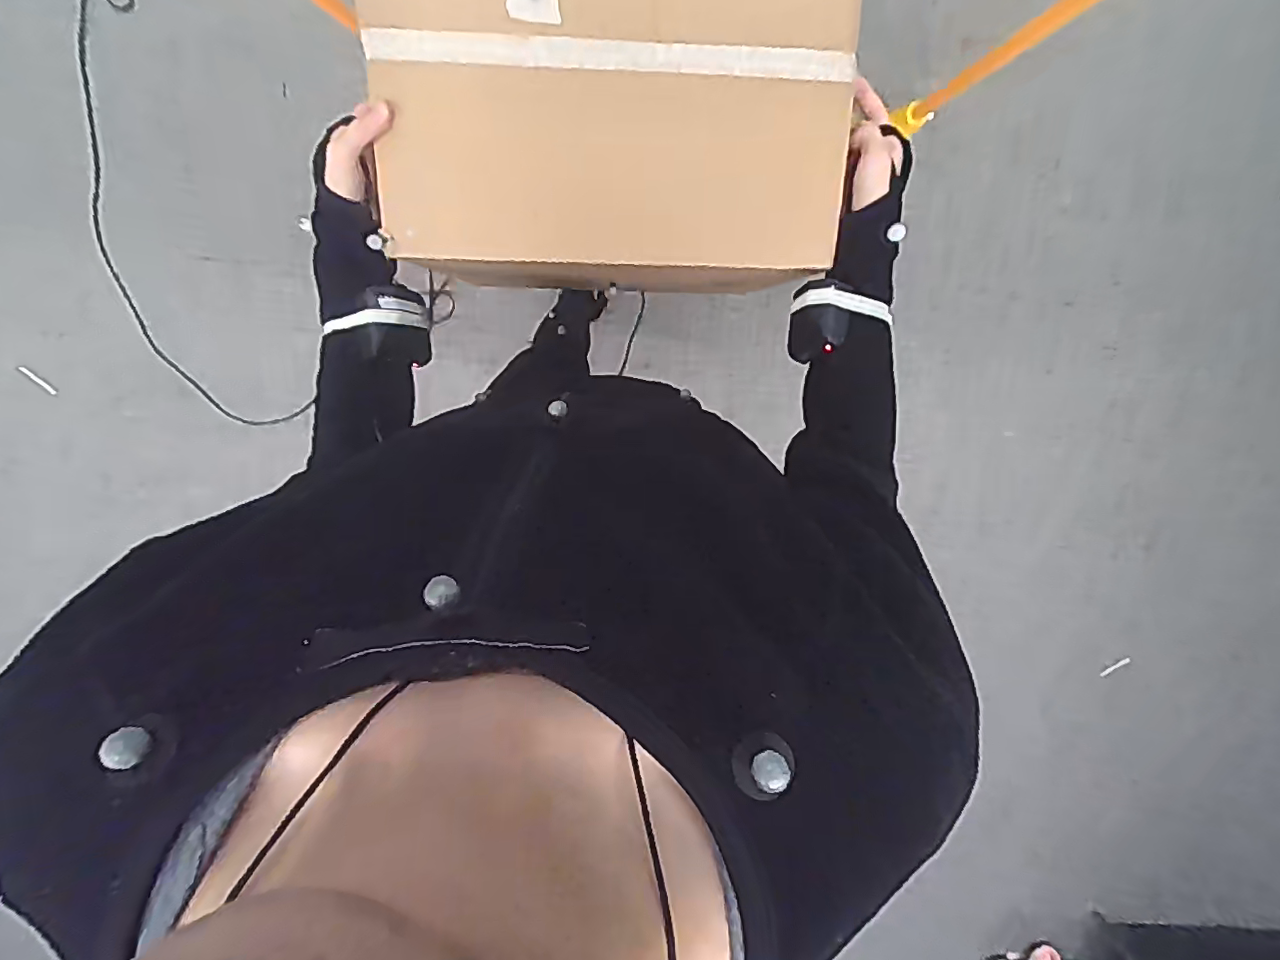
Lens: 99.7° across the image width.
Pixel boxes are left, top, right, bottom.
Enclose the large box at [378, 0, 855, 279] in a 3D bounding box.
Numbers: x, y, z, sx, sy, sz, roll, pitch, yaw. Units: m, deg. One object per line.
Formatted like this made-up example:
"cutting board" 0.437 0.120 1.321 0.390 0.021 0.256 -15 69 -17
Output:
"large box" -0.022 -0.398 0.602 0.408 0.320 0.320 1 105 -3
